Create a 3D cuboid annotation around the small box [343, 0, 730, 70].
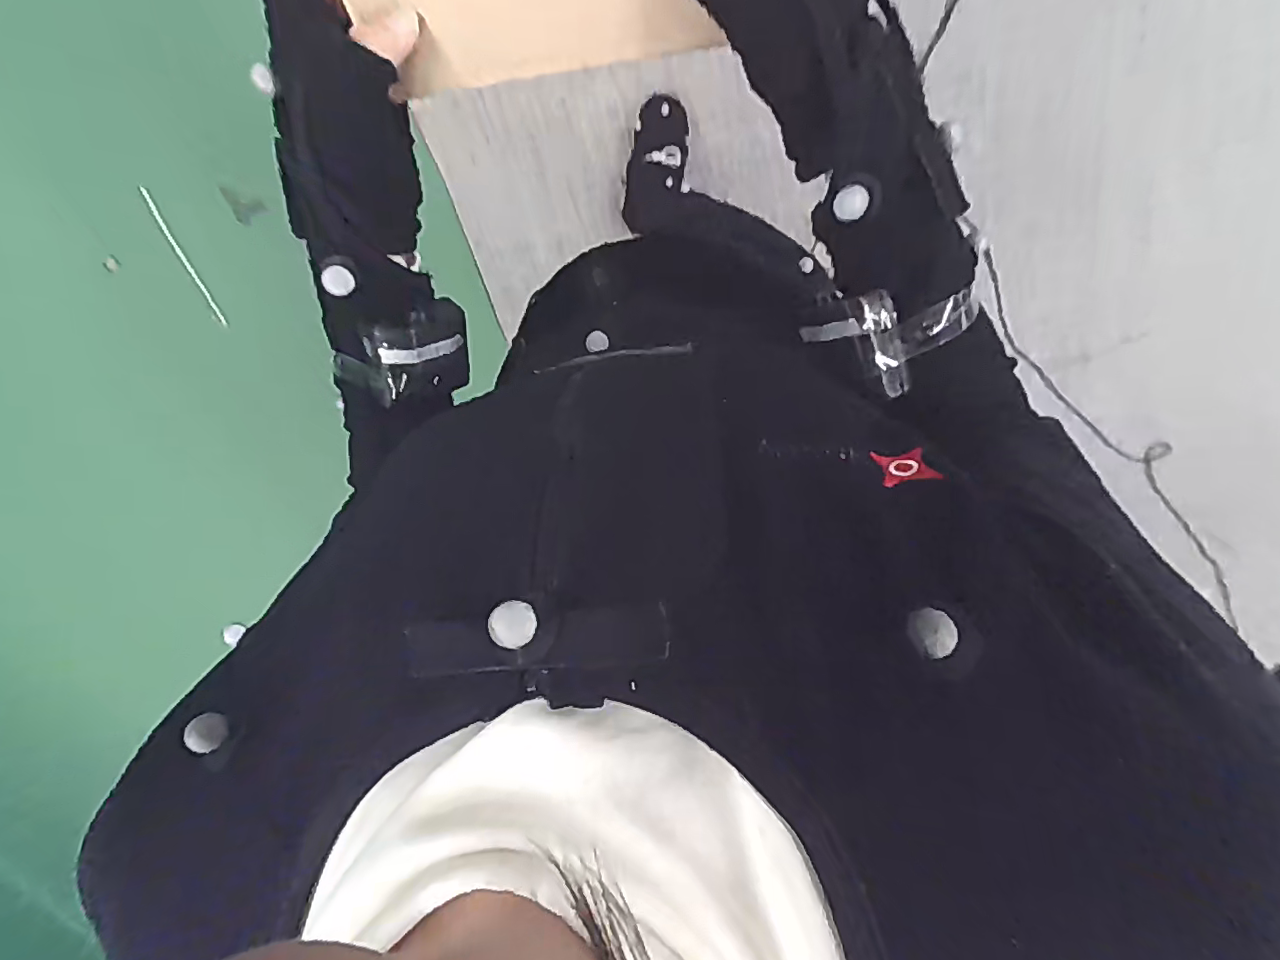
[{"bbox_3d":[-0.049,-0.314,0.243,0.179,0.176,0.168,0,140,8],"label":"small box"}]
